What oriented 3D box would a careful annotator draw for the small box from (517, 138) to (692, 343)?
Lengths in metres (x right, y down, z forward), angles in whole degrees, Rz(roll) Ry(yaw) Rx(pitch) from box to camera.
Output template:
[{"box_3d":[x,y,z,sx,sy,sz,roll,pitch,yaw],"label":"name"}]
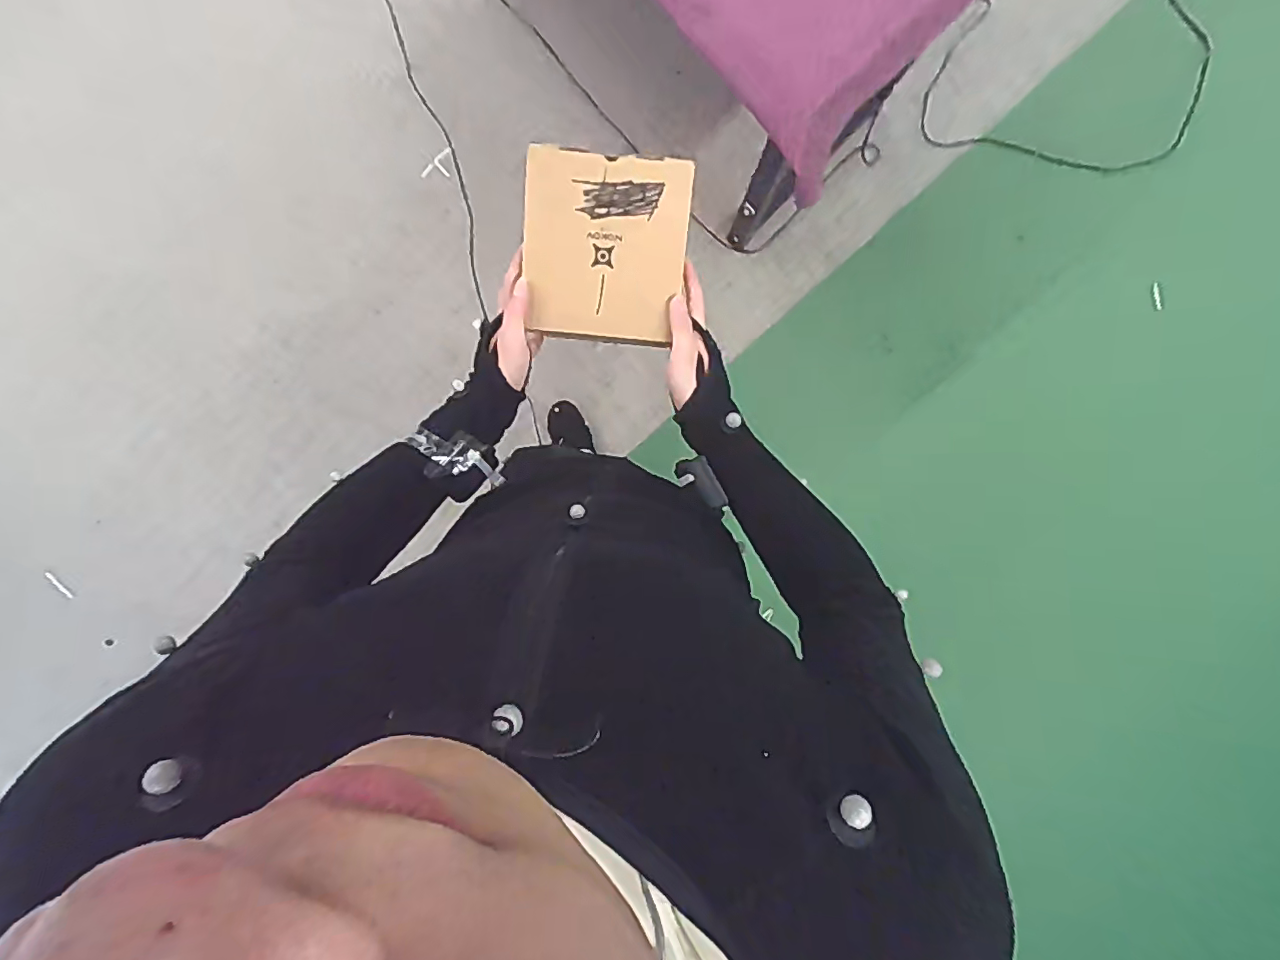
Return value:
[{"box_3d":[-0.039,-0.255,0.617,0.168,0.176,0.179,5,103,-1],"label":"small box"}]
